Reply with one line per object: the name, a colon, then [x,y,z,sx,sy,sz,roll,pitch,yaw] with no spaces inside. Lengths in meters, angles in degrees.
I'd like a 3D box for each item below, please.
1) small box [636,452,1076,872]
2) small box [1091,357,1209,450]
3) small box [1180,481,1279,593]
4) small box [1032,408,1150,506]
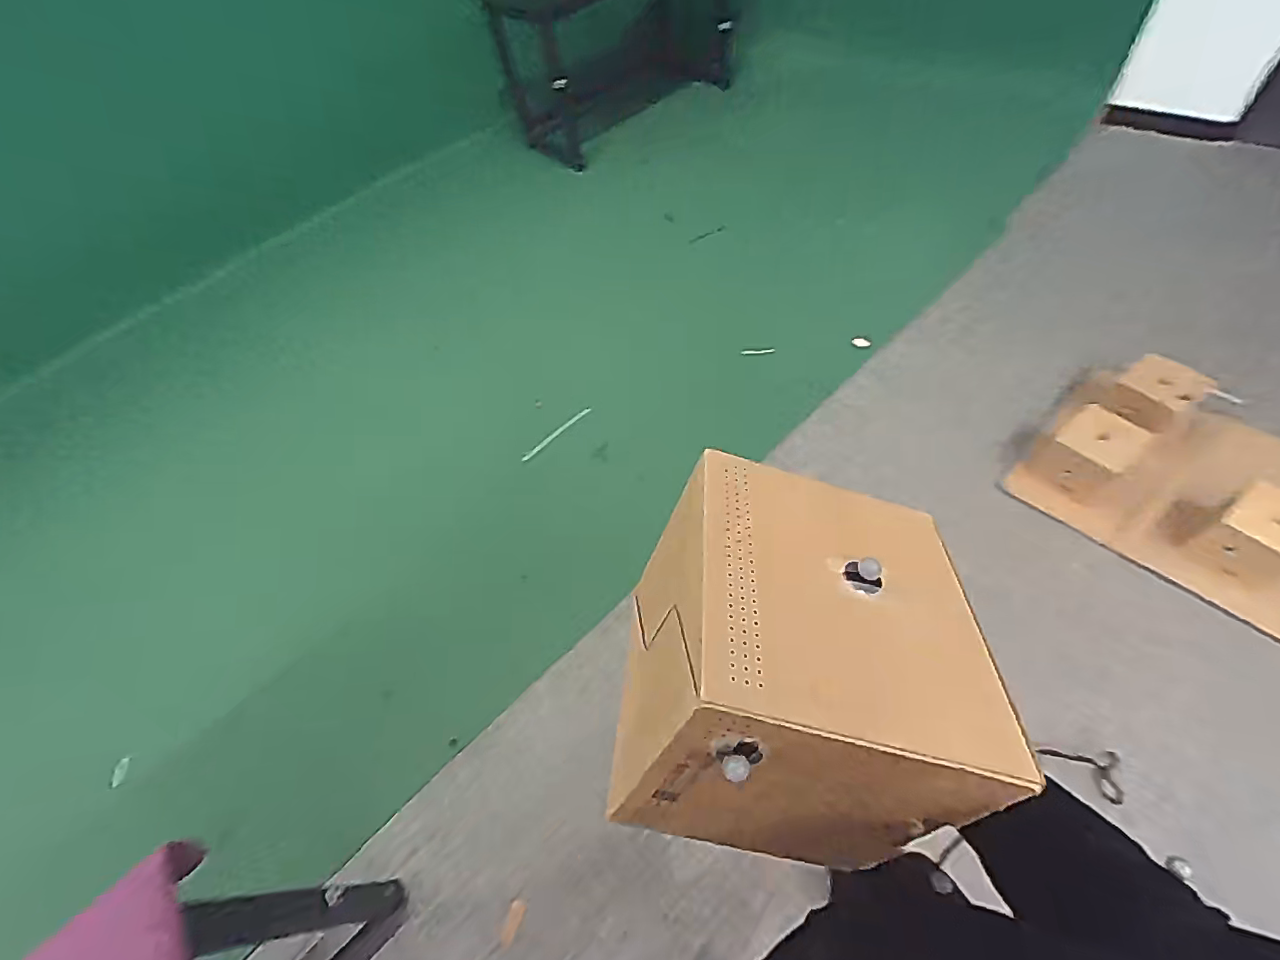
small box: [0.101,0.111,0.342,0.176,0.168,0.179,17,42,-7]
small box: [1.455,-0.218,1.568,0.168,0.176,0.179,-36,57,-14]
small box: [1.484,0.143,1.313,0.179,0.176,0.168,-37,58,-15]
small box: [1.237,-0.060,1.502,0.179,0.176,0.168,-37,58,-15]
